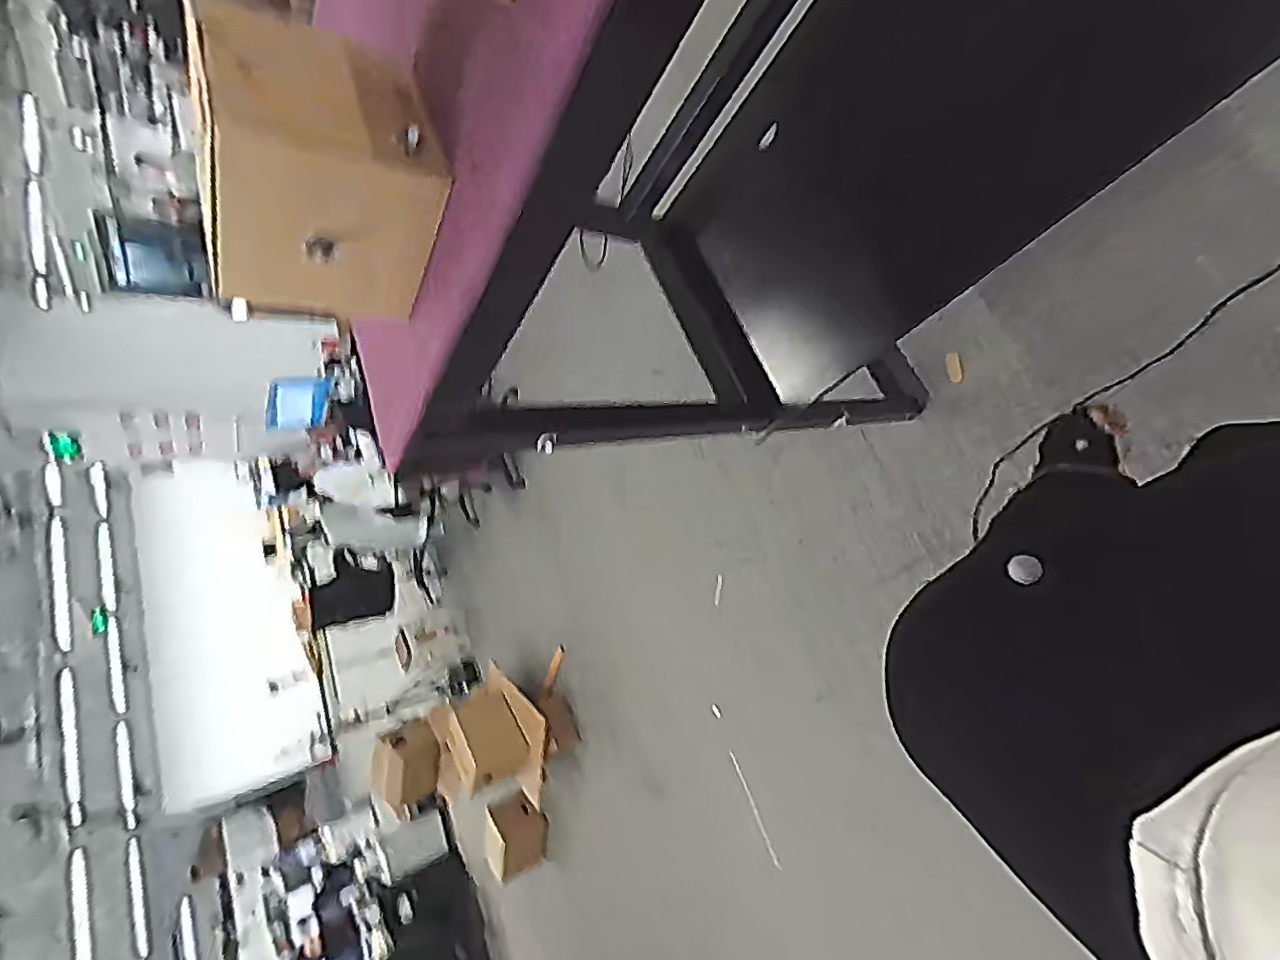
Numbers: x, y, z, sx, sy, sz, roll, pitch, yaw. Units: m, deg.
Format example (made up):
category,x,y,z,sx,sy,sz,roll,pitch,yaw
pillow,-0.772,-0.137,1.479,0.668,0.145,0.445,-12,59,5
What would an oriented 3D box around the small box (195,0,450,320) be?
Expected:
category,x,y,z,sx,sy,sz,roll,pitch,yaw
small box,-0.292,-0.272,0.505,0.179,0.176,0.168,-45,62,45
